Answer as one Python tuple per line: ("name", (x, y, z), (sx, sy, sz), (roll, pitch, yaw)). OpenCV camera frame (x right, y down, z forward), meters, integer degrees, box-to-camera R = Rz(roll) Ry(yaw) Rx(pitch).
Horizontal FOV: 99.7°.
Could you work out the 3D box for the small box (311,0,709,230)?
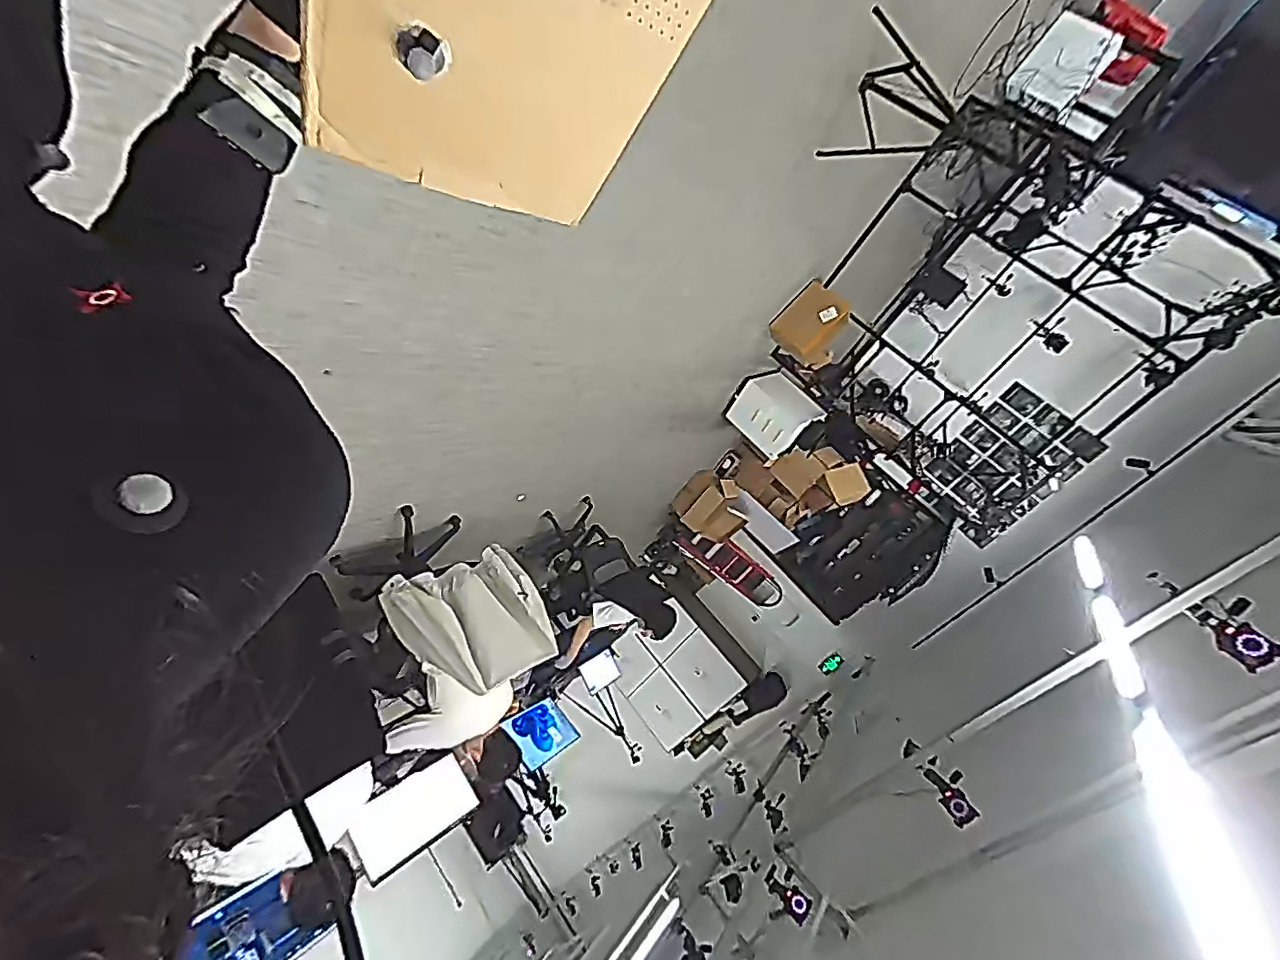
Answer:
("small box", (-0.077, -0.280, 0.289), (0.168, 0.179, 0.176), (2, 159, -35))
